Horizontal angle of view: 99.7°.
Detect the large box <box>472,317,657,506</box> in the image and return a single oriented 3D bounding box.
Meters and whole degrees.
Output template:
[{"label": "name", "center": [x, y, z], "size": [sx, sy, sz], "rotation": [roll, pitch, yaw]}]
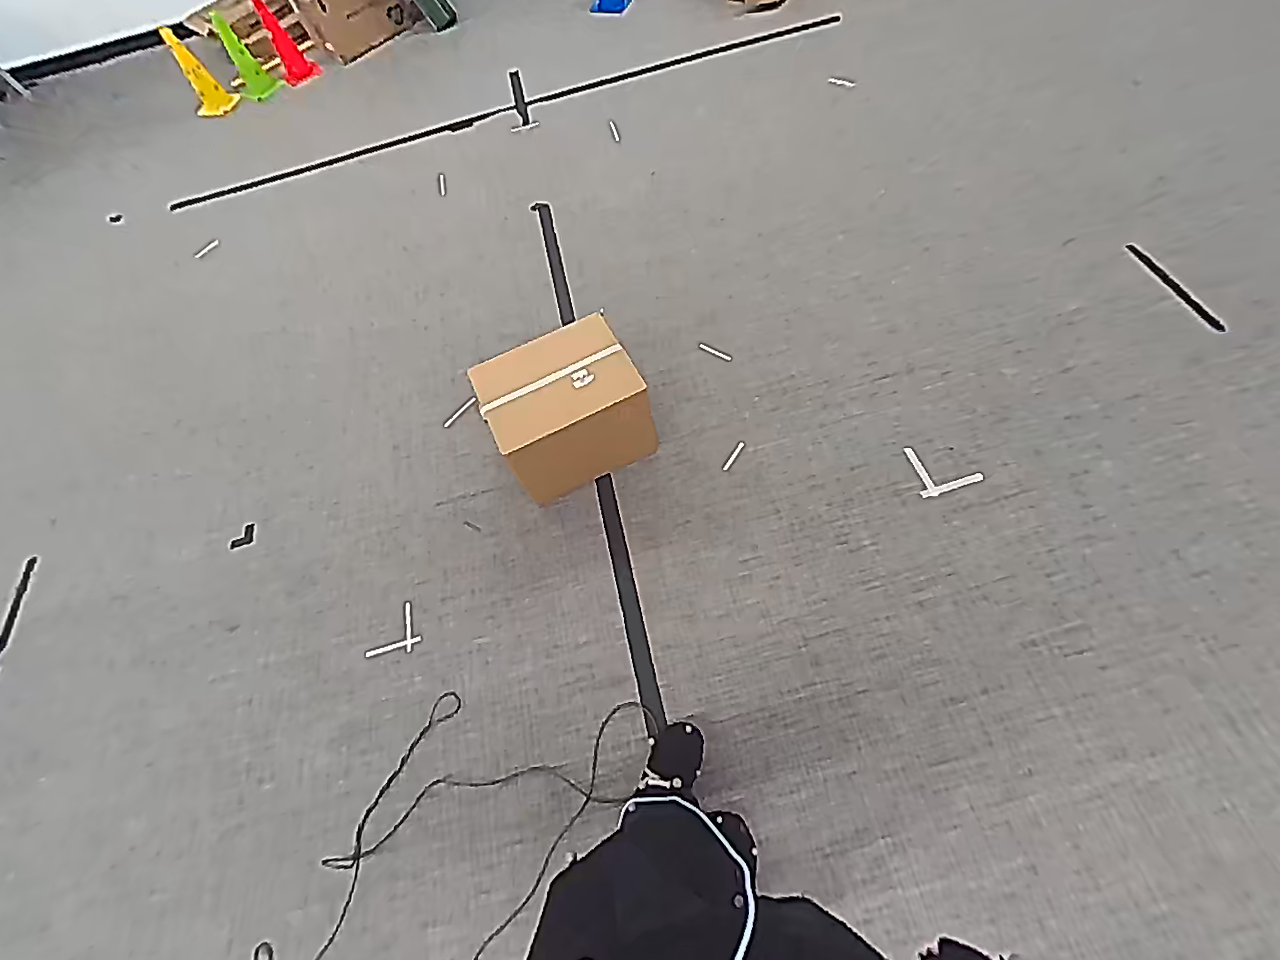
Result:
[{"label": "large box", "center": [-0.204, -0.187, 1.553], "size": [0.408, 0.320, 0.320], "rotation": [-25, 63, -7]}]
